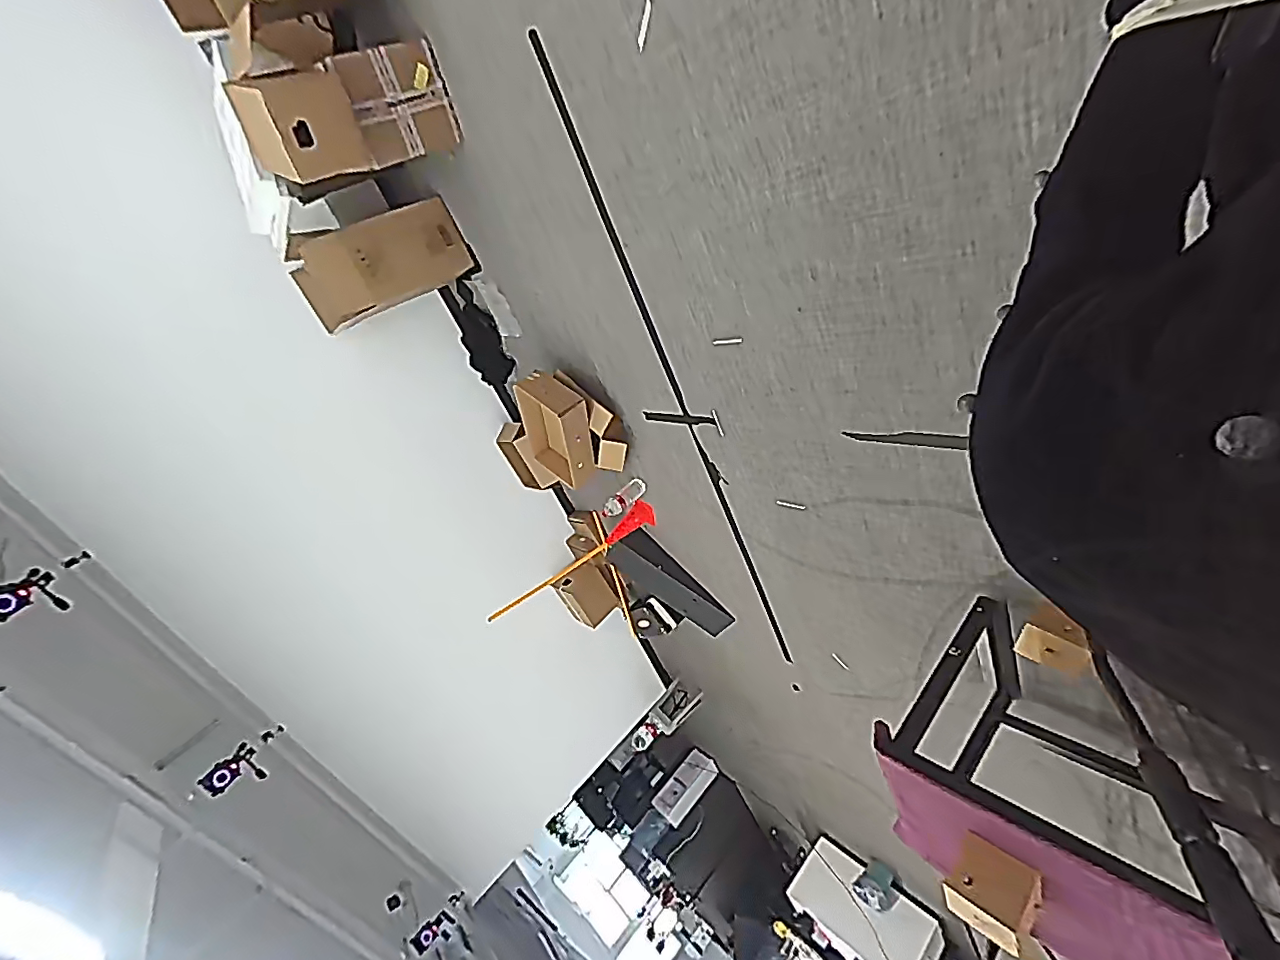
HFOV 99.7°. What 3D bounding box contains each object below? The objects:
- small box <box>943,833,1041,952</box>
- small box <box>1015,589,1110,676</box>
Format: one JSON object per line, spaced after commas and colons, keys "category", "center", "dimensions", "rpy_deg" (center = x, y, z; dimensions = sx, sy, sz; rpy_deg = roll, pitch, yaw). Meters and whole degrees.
{"category": "small box", "center": [0.955, 1.103, 1.466], "dimensions": [0.179, 0.176, 0.168], "rpy_deg": [14, 137, 50]}
{"category": "small box", "center": [1.335, 0.474, 1.710], "dimensions": [0.179, 0.176, 0.168], "rpy_deg": [27, 145, 37]}
